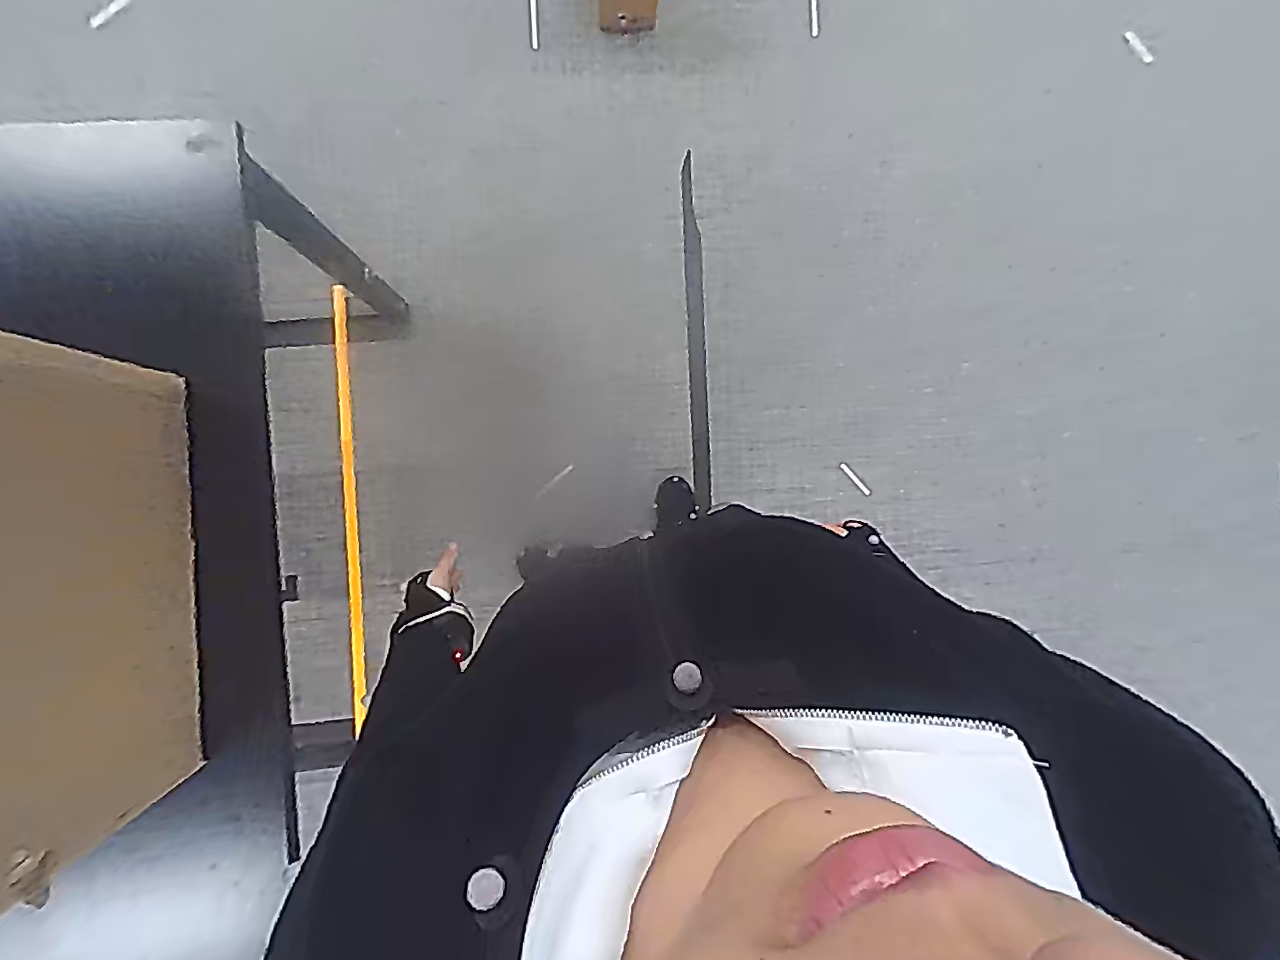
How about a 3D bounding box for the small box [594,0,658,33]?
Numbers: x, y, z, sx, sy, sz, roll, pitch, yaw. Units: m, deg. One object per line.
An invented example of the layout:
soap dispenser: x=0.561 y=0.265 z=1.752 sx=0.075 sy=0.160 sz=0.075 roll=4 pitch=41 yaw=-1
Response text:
small box: x=-0.041 y=-1.336 z=1.429 sx=0.168 sy=0.176 sz=0.179 roll=-6 pitch=91 yaw=-4
